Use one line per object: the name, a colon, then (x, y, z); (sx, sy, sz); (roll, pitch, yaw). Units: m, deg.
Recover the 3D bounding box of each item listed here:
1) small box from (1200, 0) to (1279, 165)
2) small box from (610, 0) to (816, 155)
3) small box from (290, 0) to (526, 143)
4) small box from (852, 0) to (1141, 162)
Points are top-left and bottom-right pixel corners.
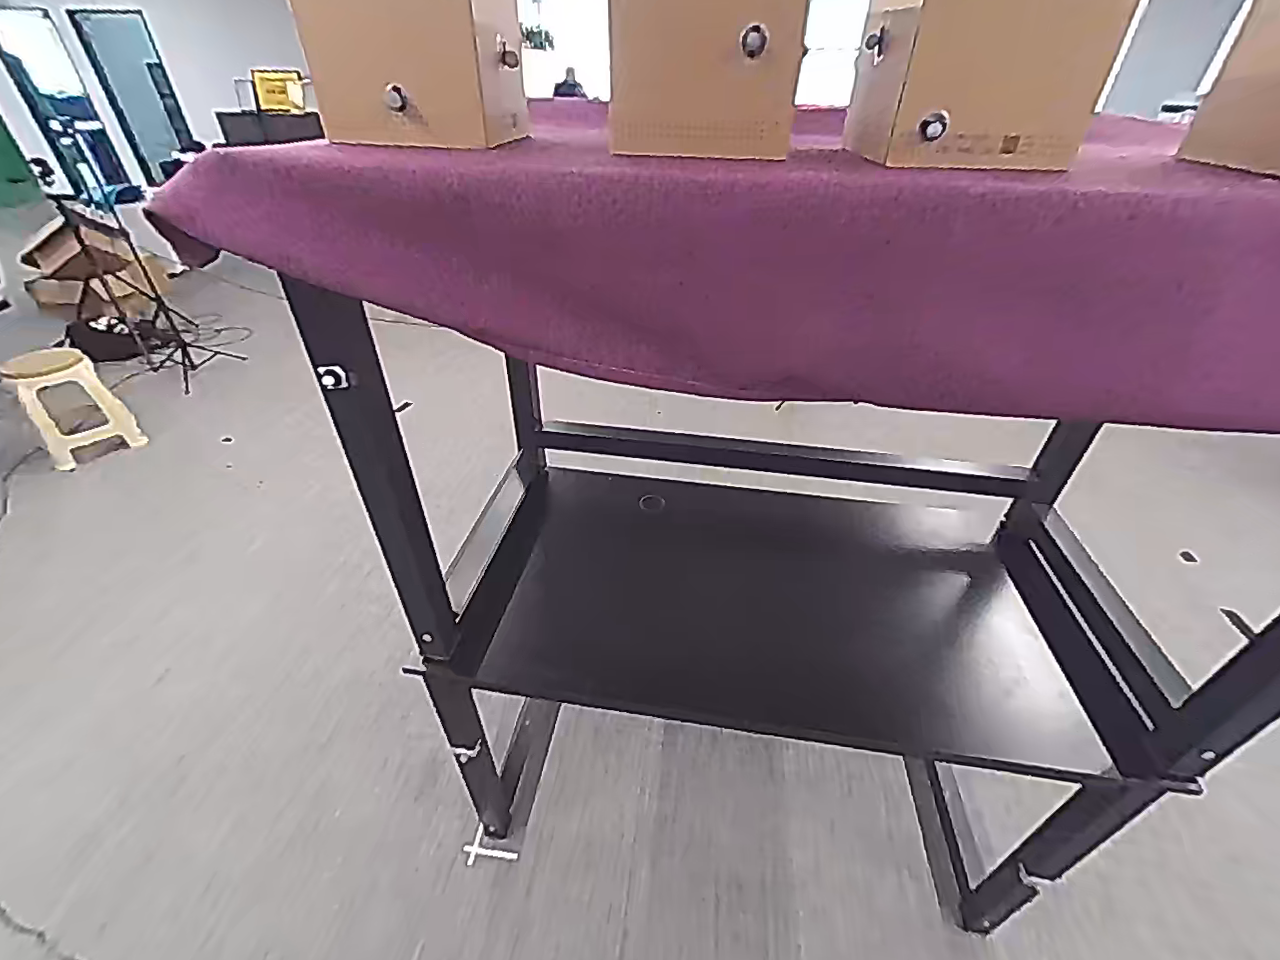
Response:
small box: (0.636, -0.351, 0.439); (0.168, 0.176, 0.179); (8, 37, 10)
small box: (0.072, -0.425, 0.530); (0.179, 0.176, 0.168); (6, 36, 7)
small box: (-0.225, -0.457, 0.561); (0.179, 0.176, 0.168); (5, 37, 3)
small box: (0.312, -0.395, 0.493); (0.168, 0.176, 0.179); (3, 36, 3)
